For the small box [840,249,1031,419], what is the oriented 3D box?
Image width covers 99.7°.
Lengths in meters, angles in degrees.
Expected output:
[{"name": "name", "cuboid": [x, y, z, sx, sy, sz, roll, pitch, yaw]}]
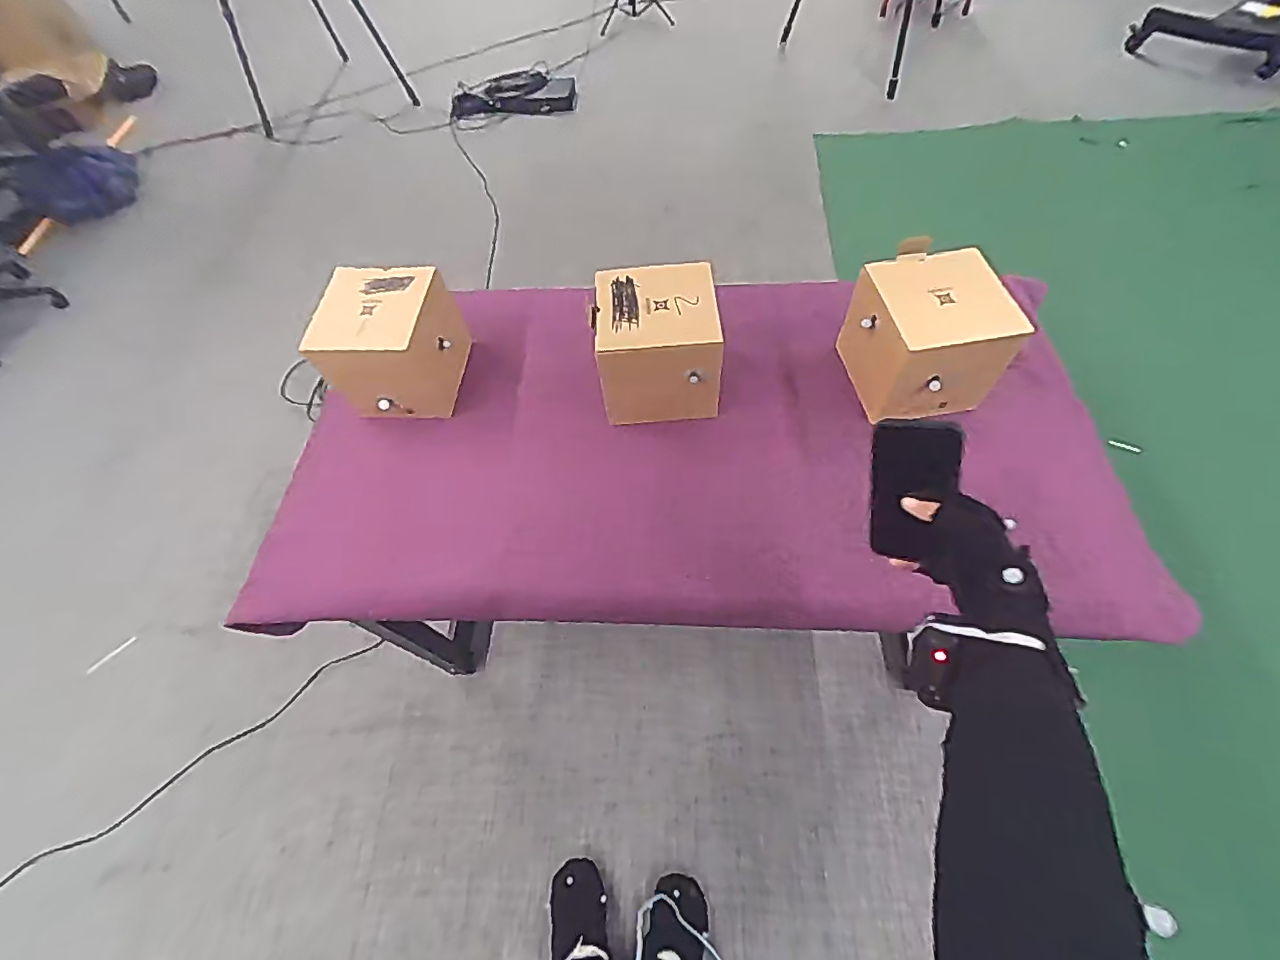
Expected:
[{"name": "small box", "cuboid": [0.417, -0.206, 0.801, 0.168, 0.176, 0.179, -9, 59, 0]}]

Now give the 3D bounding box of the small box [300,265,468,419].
[{"name": "small box", "cuboid": [-0.393, -0.220, 0.872, 0.168, 0.176, 0.179, 1, 62, 5]}]
